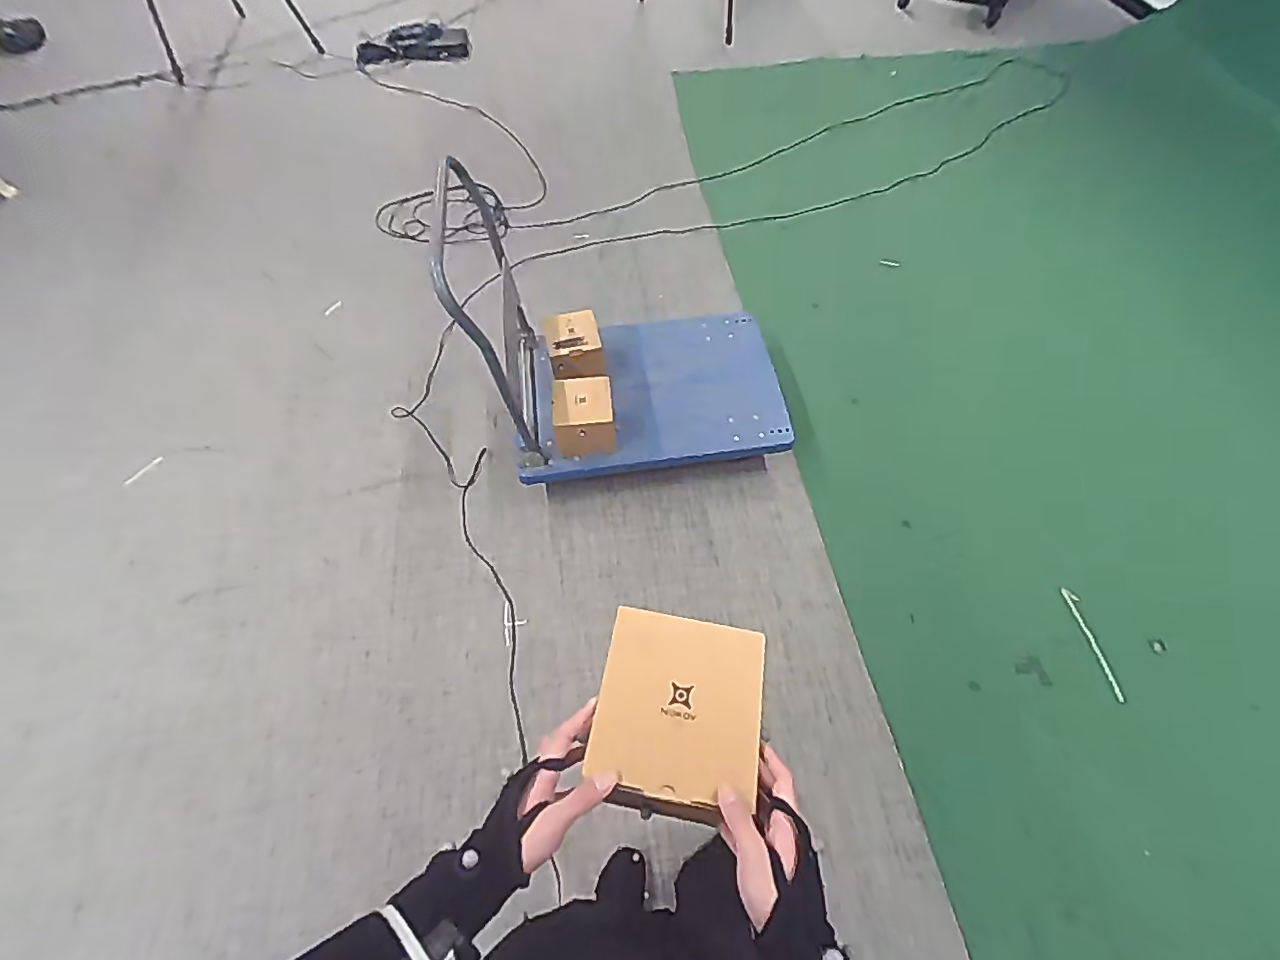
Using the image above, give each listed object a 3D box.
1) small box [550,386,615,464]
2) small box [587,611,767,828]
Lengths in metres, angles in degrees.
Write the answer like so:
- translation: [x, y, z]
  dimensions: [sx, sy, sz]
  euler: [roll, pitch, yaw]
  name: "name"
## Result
- translation: [-0.169, -0.160, 1.621]
  dimensions: [0.179, 0.176, 0.168]
  euler: [-5, 60, -3]
  name: "small box"
- translation: [0.040, 0.275, 0.614]
  dimensions: [0.168, 0.176, 0.179]
  euler: [10, 56, 4]
  name: "small box"
